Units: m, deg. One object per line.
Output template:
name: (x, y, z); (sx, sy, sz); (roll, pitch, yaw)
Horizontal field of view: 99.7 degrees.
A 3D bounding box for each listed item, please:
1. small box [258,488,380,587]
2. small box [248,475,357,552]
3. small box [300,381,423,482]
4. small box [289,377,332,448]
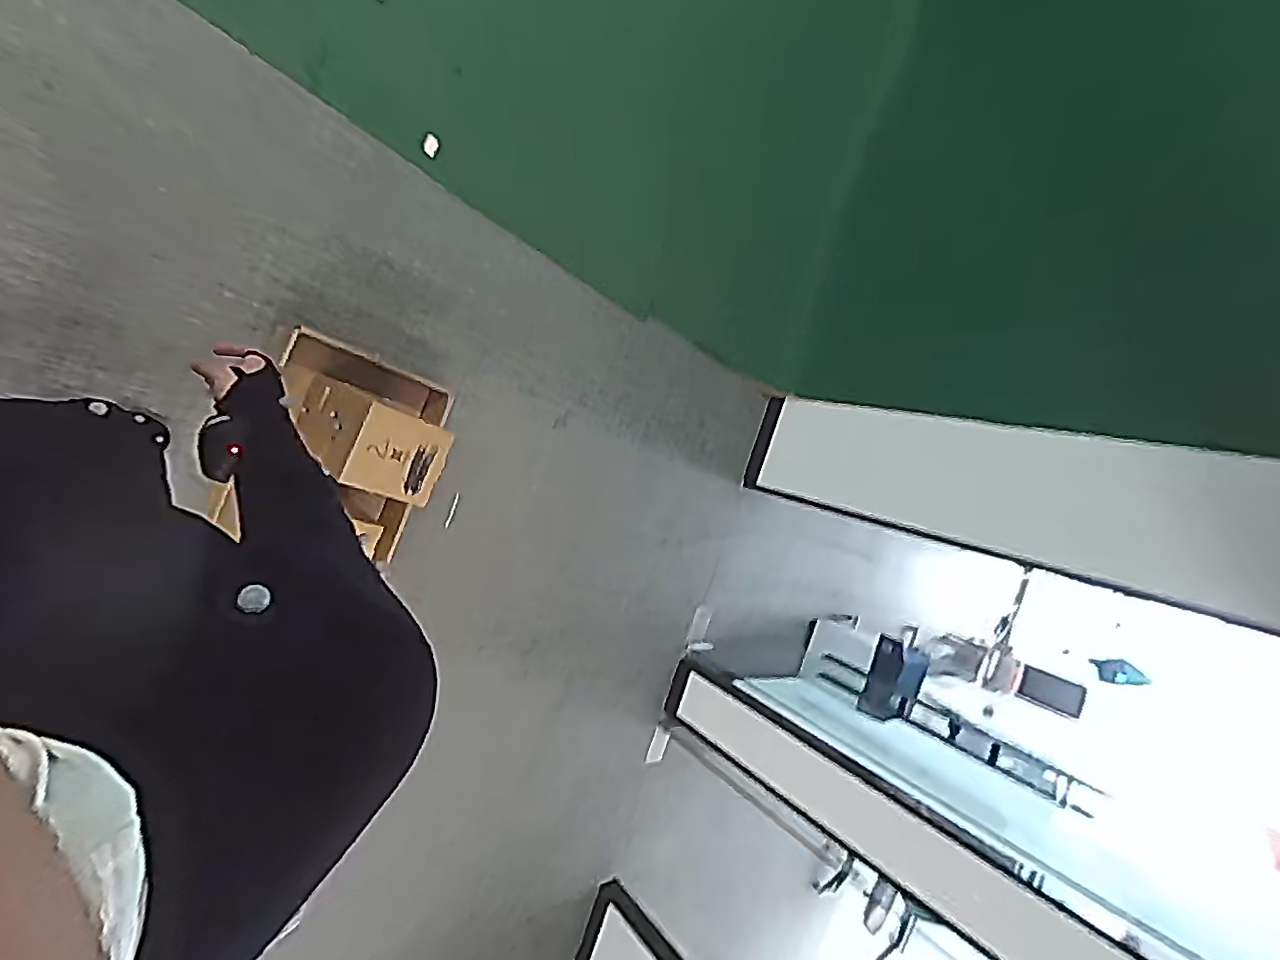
small box: (-0.738, 0.129, 1.239); (0.179, 0.176, 0.168); (25, 84, -44)
small box: (-0.850, 0.094, 1.353); (0.179, 0.176, 0.168); (21, 88, -44)
small box: (-0.643, -0.116, 1.245); (0.179, 0.176, 0.168); (28, 83, -45)
small box: (-0.754, -0.150, 1.361); (0.179, 0.176, 0.168); (21, 90, -44)
